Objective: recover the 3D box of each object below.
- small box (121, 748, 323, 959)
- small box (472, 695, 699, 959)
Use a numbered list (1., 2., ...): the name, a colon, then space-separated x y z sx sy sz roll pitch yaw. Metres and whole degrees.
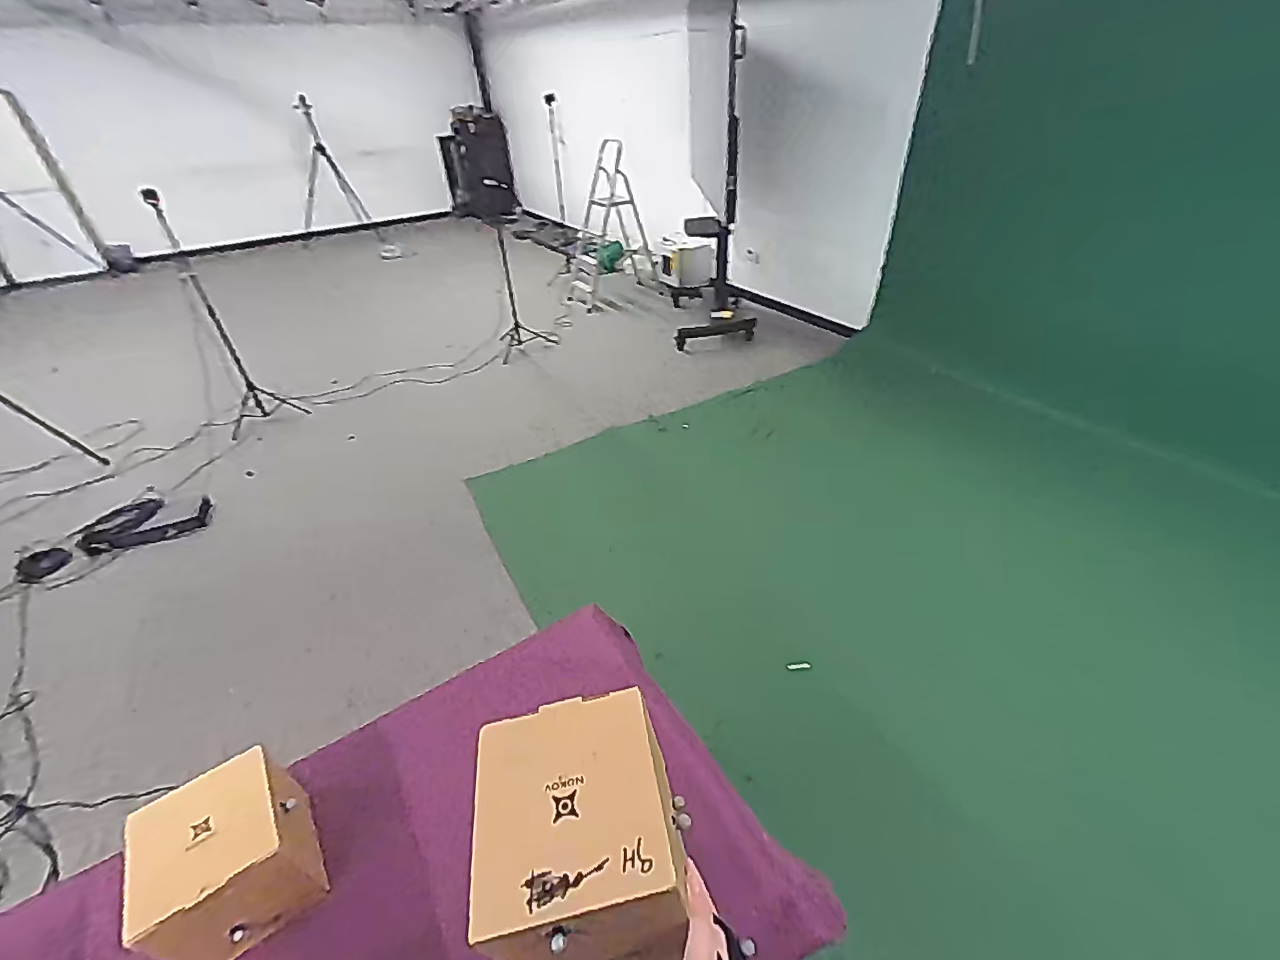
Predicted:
1. small box: -0.576 0.530 0.757 0.168 0.176 0.179 -25 43 -28
2. small box: -0.046 0.345 0.520 0.168 0.176 0.179 -13 38 -2
